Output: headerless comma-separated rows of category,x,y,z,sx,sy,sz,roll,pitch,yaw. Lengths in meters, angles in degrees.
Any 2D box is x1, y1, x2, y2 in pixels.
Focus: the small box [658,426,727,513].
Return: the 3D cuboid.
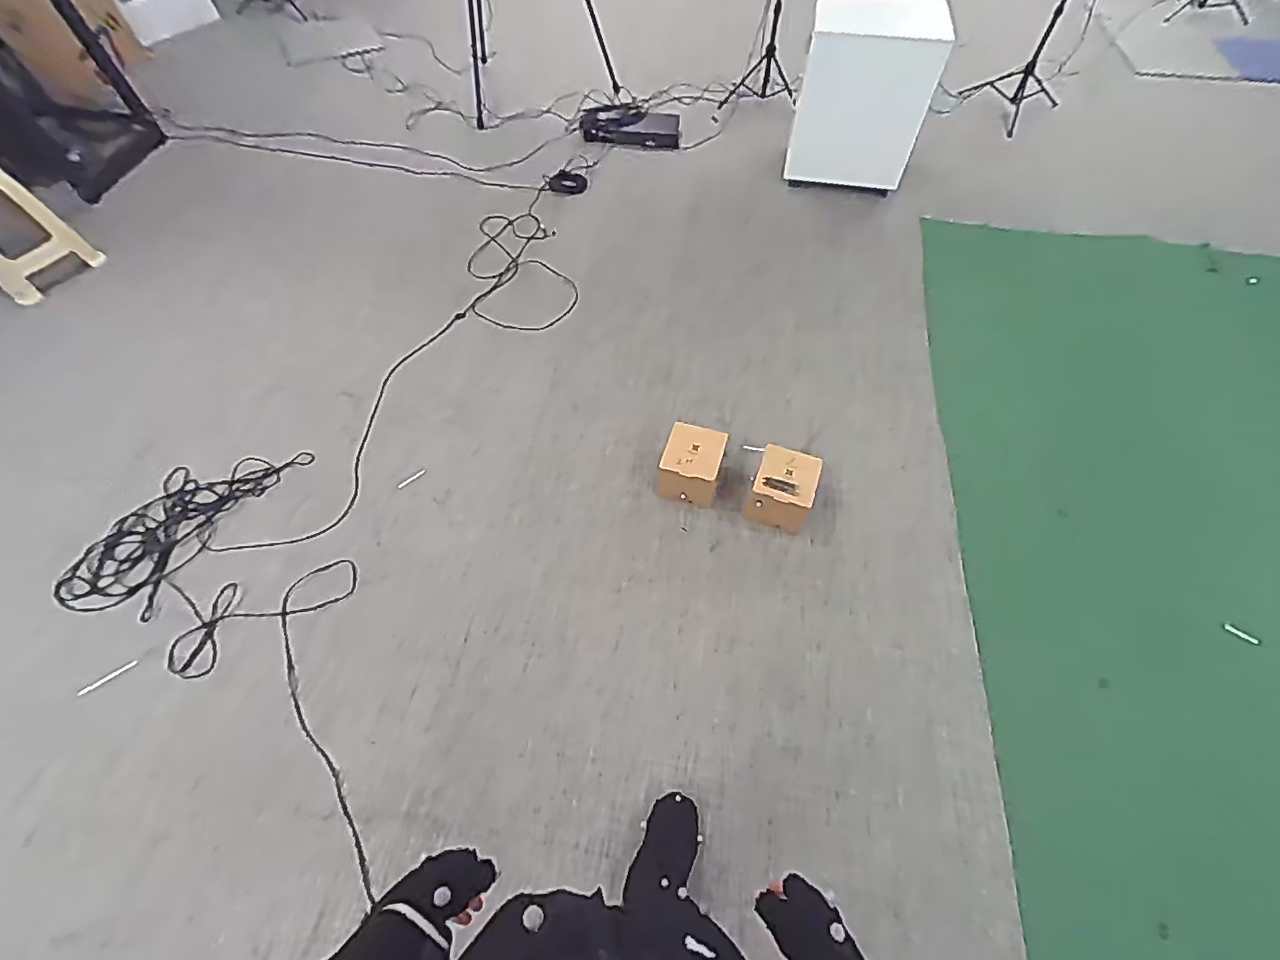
small box,0.154,-0.029,1.625,0.168,0.176,0.179,15,60,11
